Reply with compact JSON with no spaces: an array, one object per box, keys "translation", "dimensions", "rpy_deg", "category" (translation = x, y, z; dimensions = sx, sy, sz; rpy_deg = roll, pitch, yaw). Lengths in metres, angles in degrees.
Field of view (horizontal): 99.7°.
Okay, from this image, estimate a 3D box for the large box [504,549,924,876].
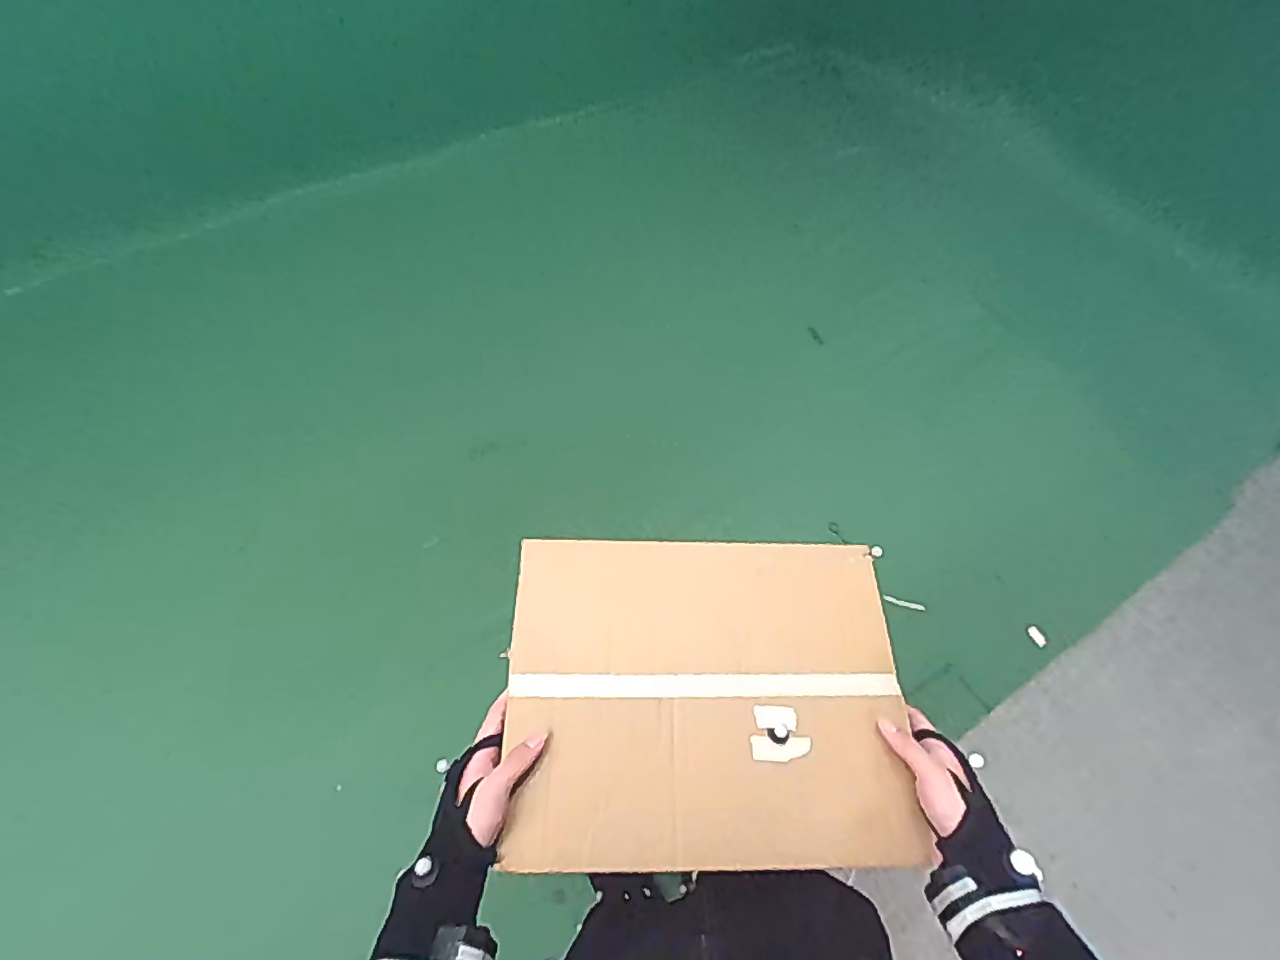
[{"translation":[0.060,0.289,0.697],"dimensions":[0.408,0.320,0.320],"rpy_deg":[2,63,-4],"category":"large box"}]
